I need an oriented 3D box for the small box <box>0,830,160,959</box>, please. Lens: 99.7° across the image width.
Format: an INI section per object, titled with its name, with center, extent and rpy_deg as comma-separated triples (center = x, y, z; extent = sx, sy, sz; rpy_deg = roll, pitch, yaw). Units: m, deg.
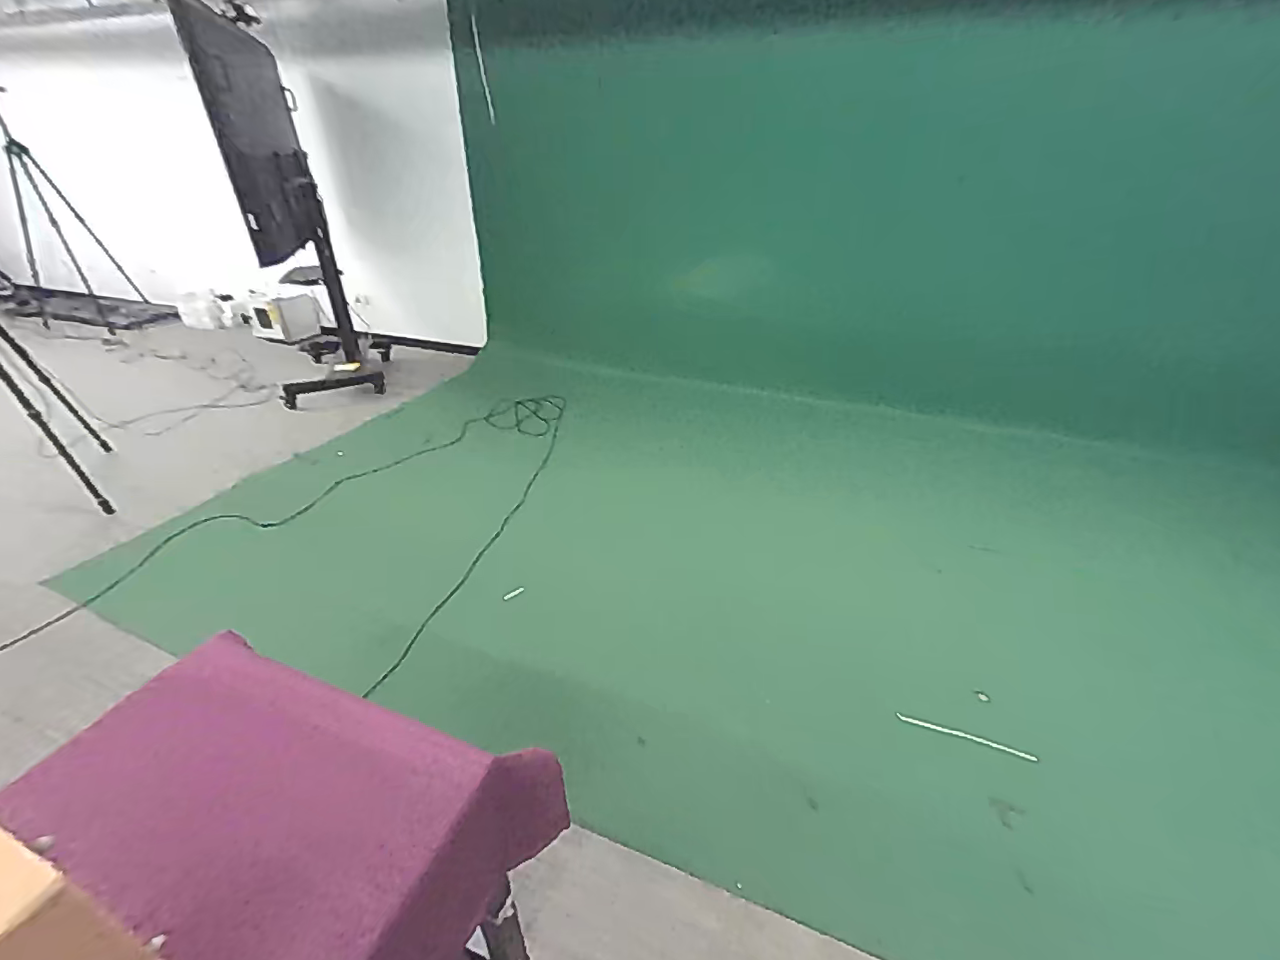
[small box]
center = -0.502, 0.370, 0.380
extent = 0.179, 0.176, 0.168
rpy_deg = 12, 33, 18
